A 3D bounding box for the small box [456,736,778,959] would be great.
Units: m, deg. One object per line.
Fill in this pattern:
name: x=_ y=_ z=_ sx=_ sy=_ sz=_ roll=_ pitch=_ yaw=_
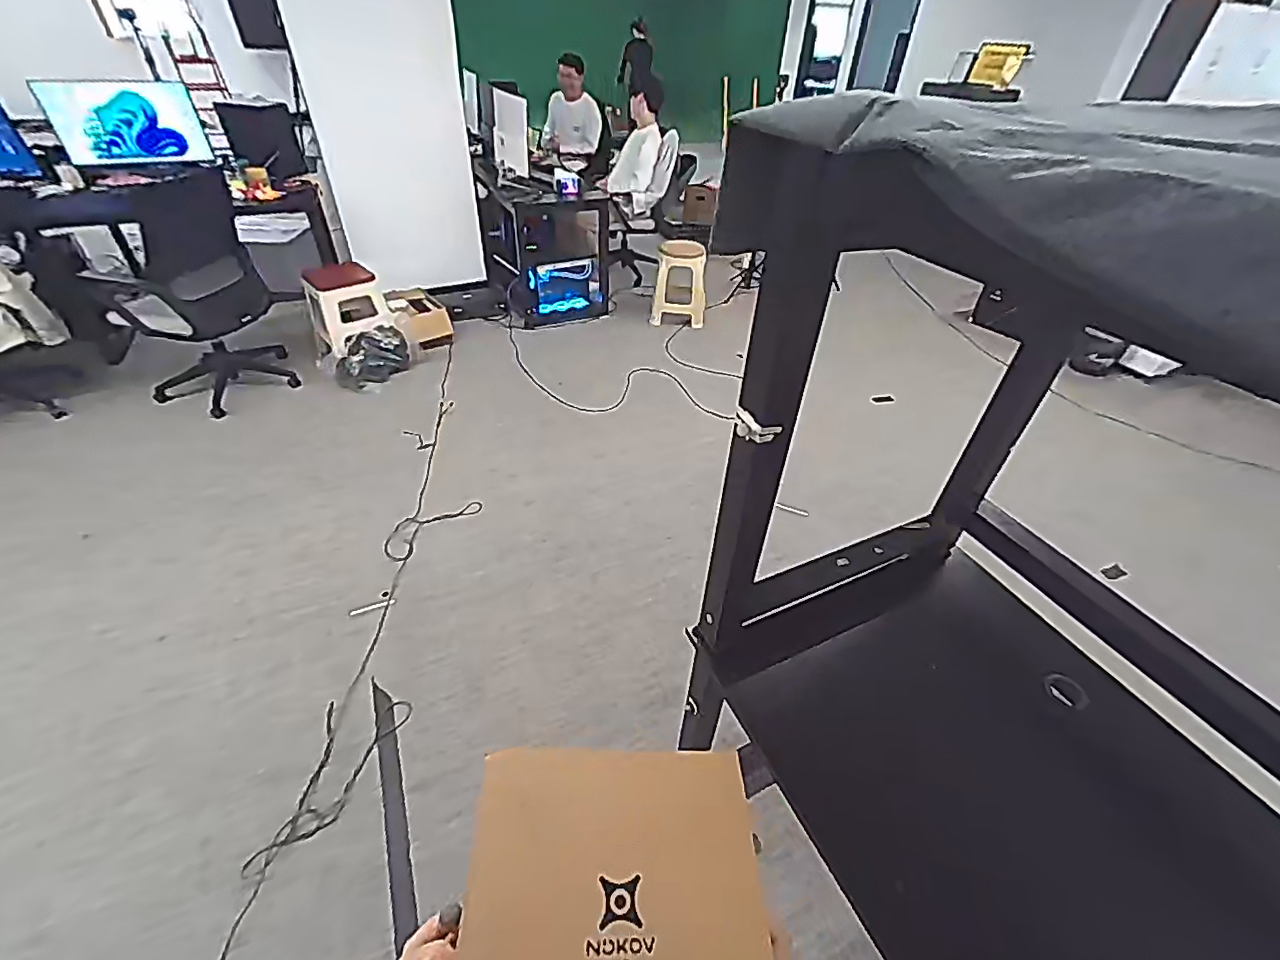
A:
small box: x=-0.023 y=0.283 z=0.339 sx=0.168 sy=0.176 sz=0.179 roll=4 pitch=43 yaw=-8
